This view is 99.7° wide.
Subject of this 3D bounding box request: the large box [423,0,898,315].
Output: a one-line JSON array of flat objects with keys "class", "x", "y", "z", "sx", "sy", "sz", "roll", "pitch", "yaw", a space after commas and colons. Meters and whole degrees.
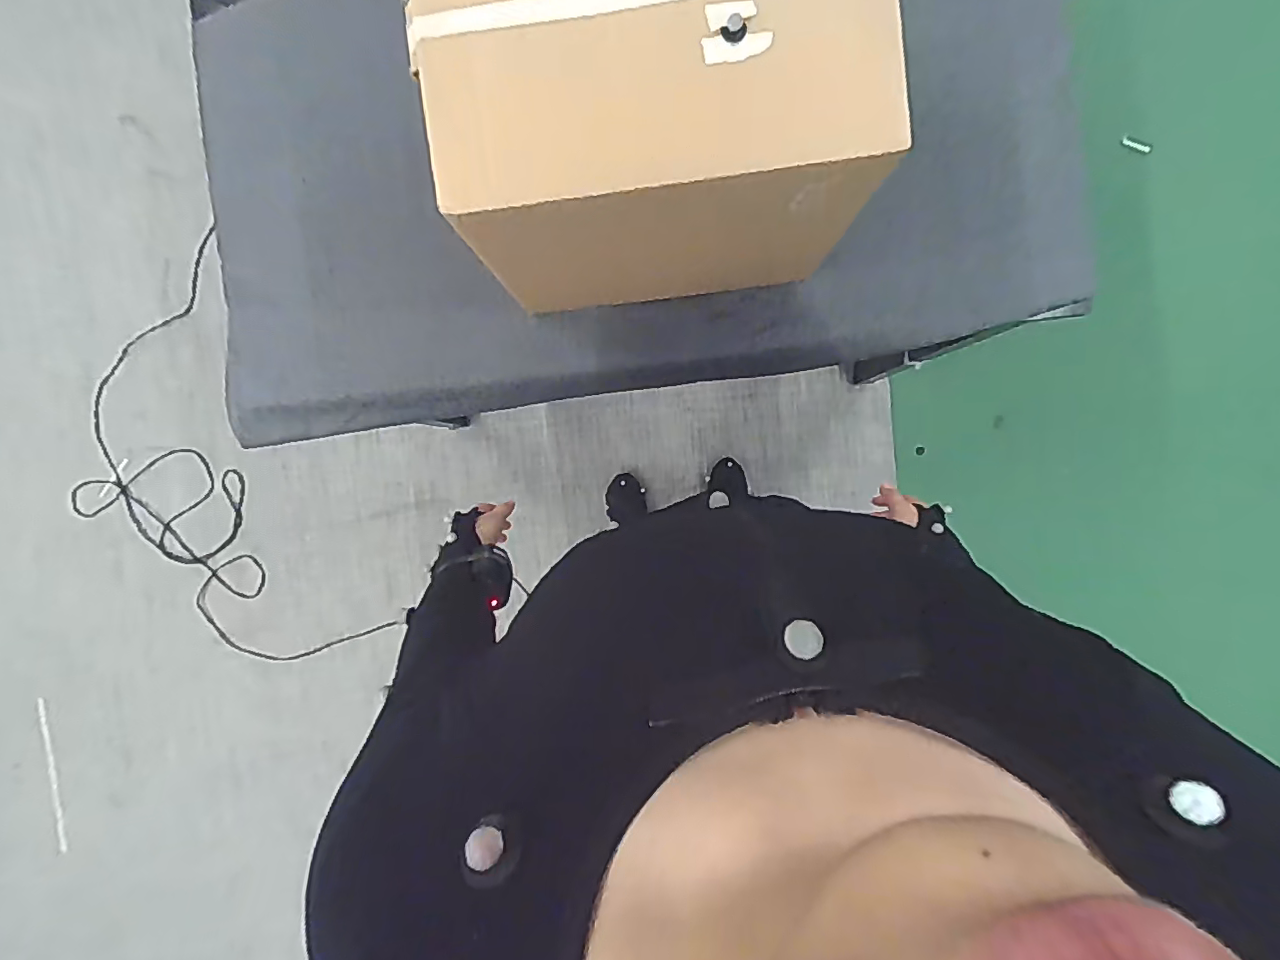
[{"class": "large box", "x": 0.012, "y": -0.410, "z": 0.622, "sx": 0.408, "sy": 0.320, "sz": 0.320, "roll": -7, "pitch": 91, "yaw": 2}]
